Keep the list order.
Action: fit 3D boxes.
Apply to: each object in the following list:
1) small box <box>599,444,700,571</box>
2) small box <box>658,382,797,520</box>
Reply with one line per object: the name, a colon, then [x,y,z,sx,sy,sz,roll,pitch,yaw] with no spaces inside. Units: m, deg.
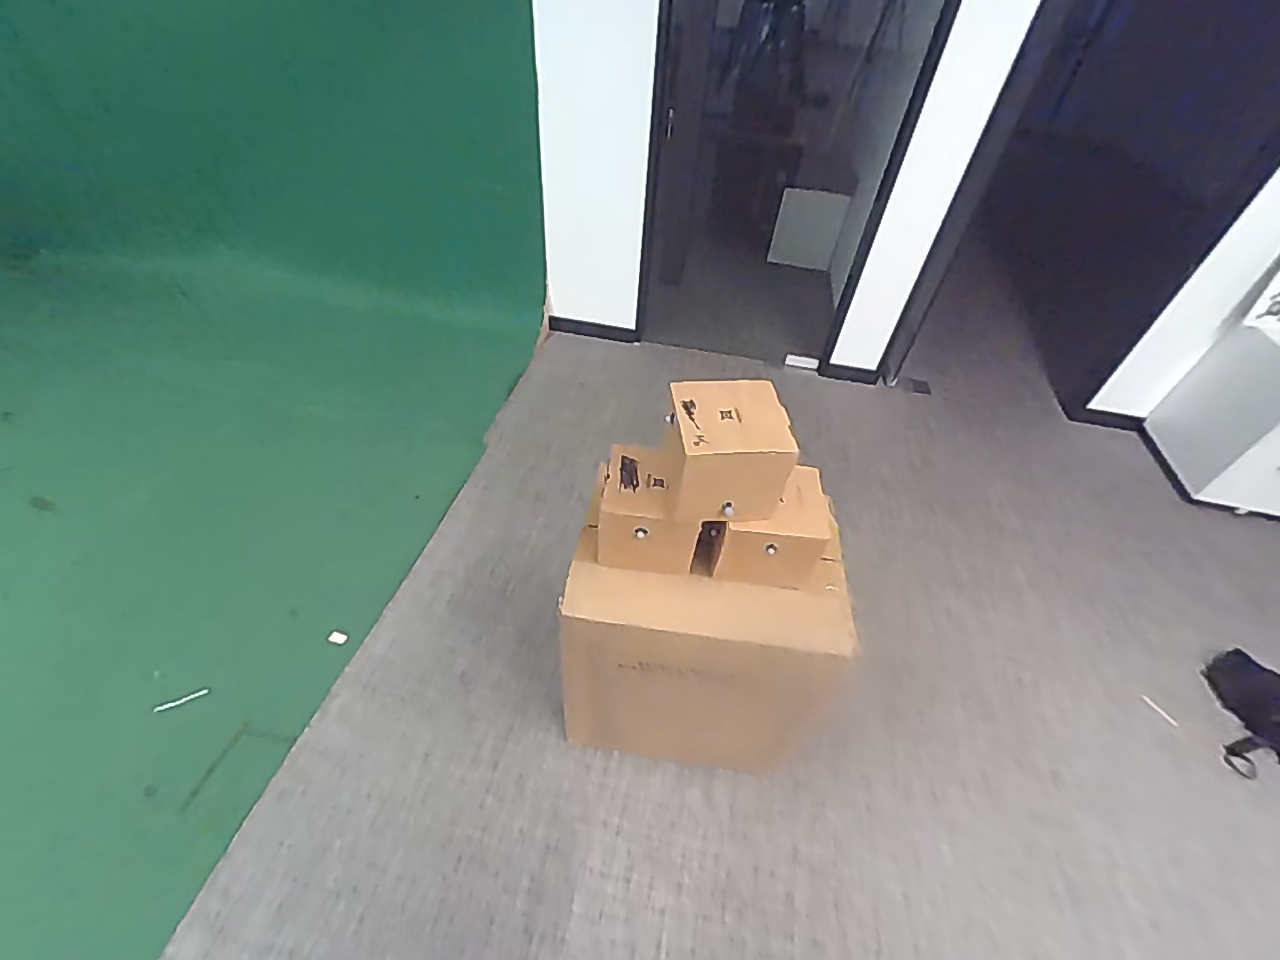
small box: [0.018,0.055,1.025,0.179,0.176,0.168,7,49,0]
small box: [0.135,-0.045,0.908,0.179,0.176,0.168,-1,49,-8]
